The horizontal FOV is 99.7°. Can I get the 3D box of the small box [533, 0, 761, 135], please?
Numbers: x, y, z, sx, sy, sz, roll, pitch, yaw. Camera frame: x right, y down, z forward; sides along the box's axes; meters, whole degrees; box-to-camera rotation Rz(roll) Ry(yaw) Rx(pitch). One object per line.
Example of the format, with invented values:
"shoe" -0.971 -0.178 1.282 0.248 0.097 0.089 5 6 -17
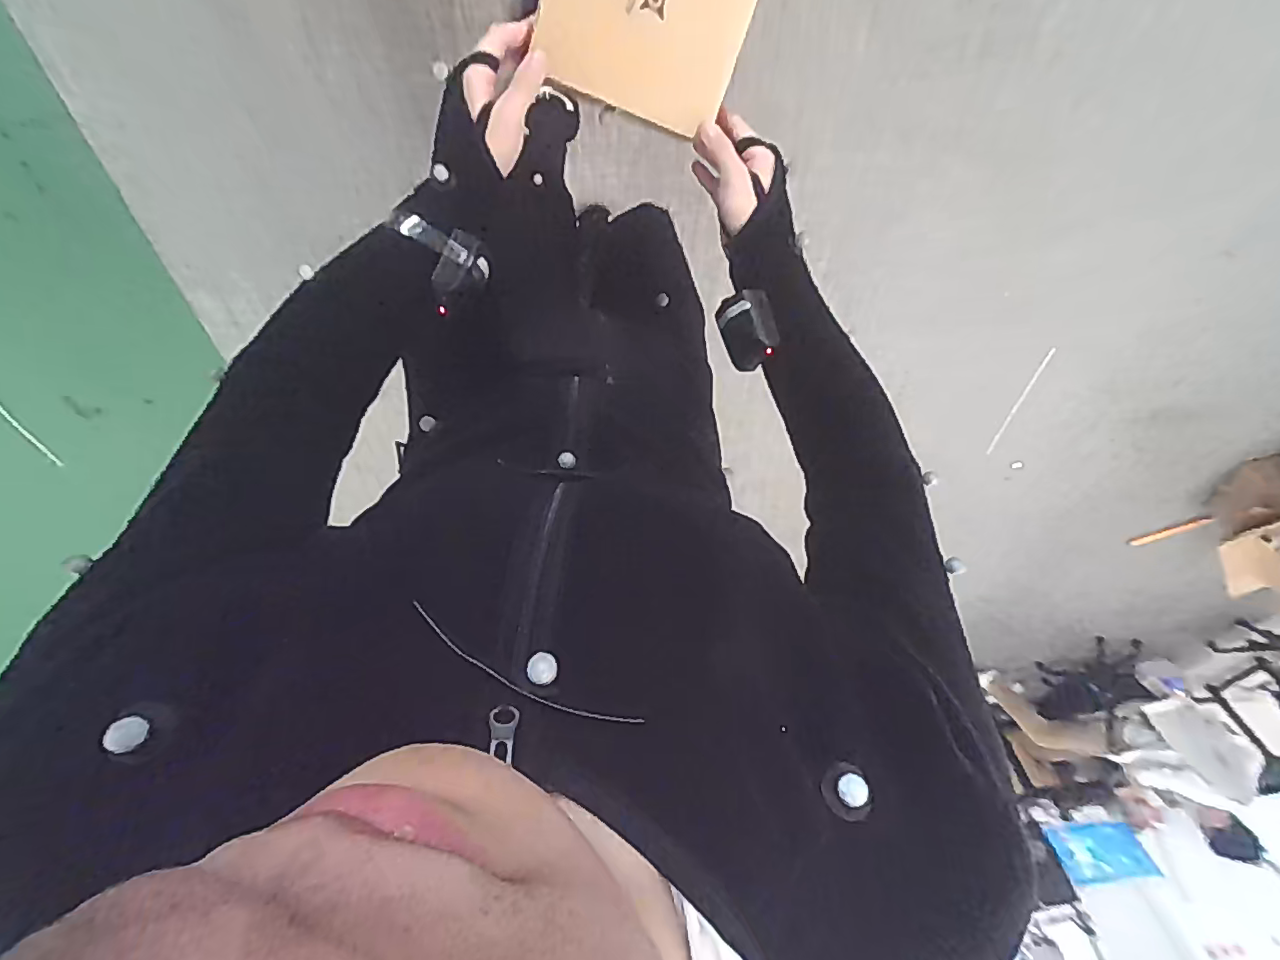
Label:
"small box" 0.008 -0.457 0.515 0.179 0.176 0.168 14 122 -14
